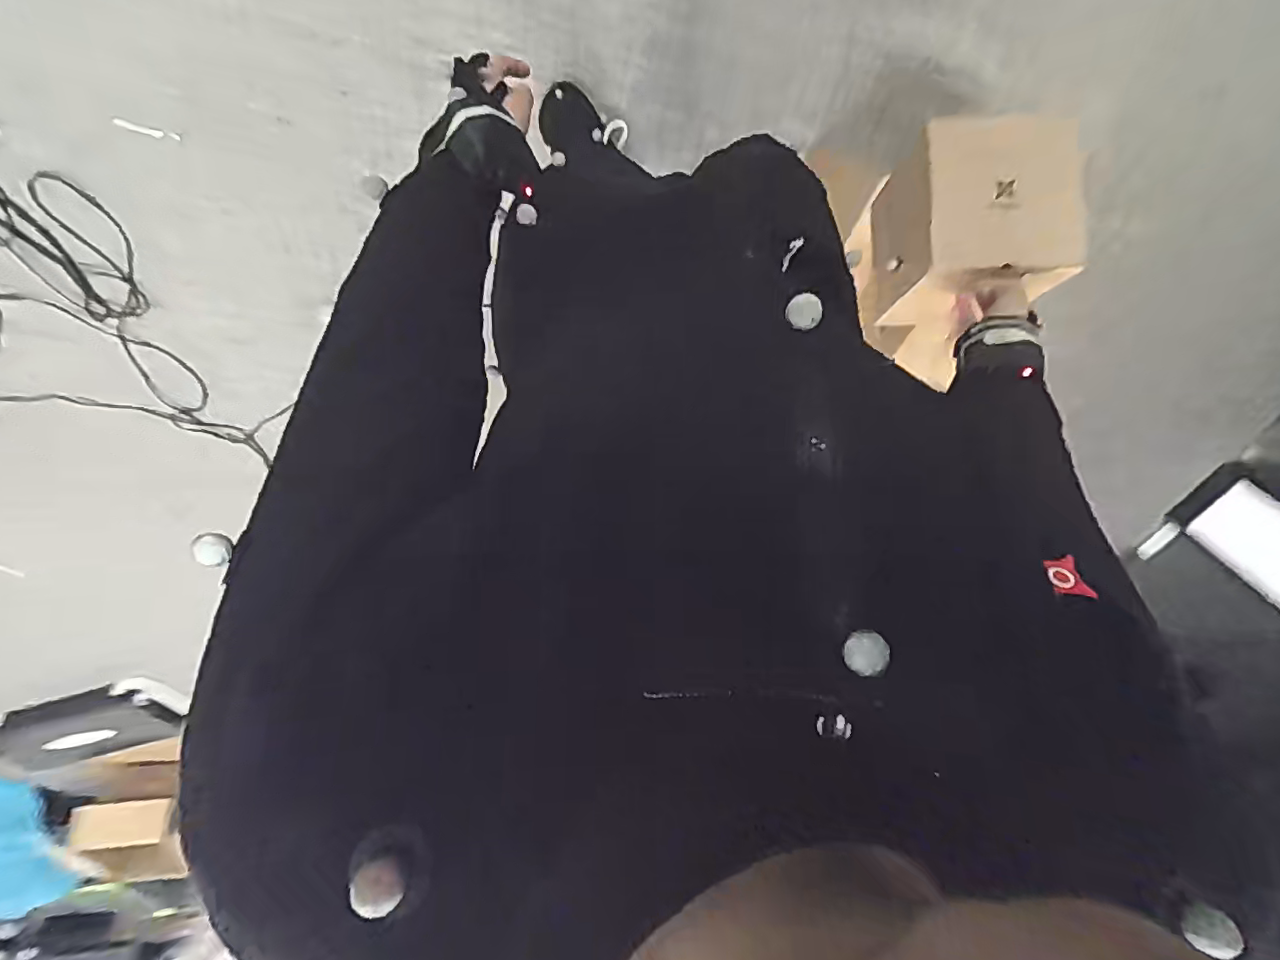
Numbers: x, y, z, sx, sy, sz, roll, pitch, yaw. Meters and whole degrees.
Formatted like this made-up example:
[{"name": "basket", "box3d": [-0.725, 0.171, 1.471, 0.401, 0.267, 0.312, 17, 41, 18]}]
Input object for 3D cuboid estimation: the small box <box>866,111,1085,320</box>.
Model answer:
[{"name": "small box", "box3d": [0.392, -0.306, 0.663, 0.168, 0.179, 0.176, -2, 174, 2]}]
